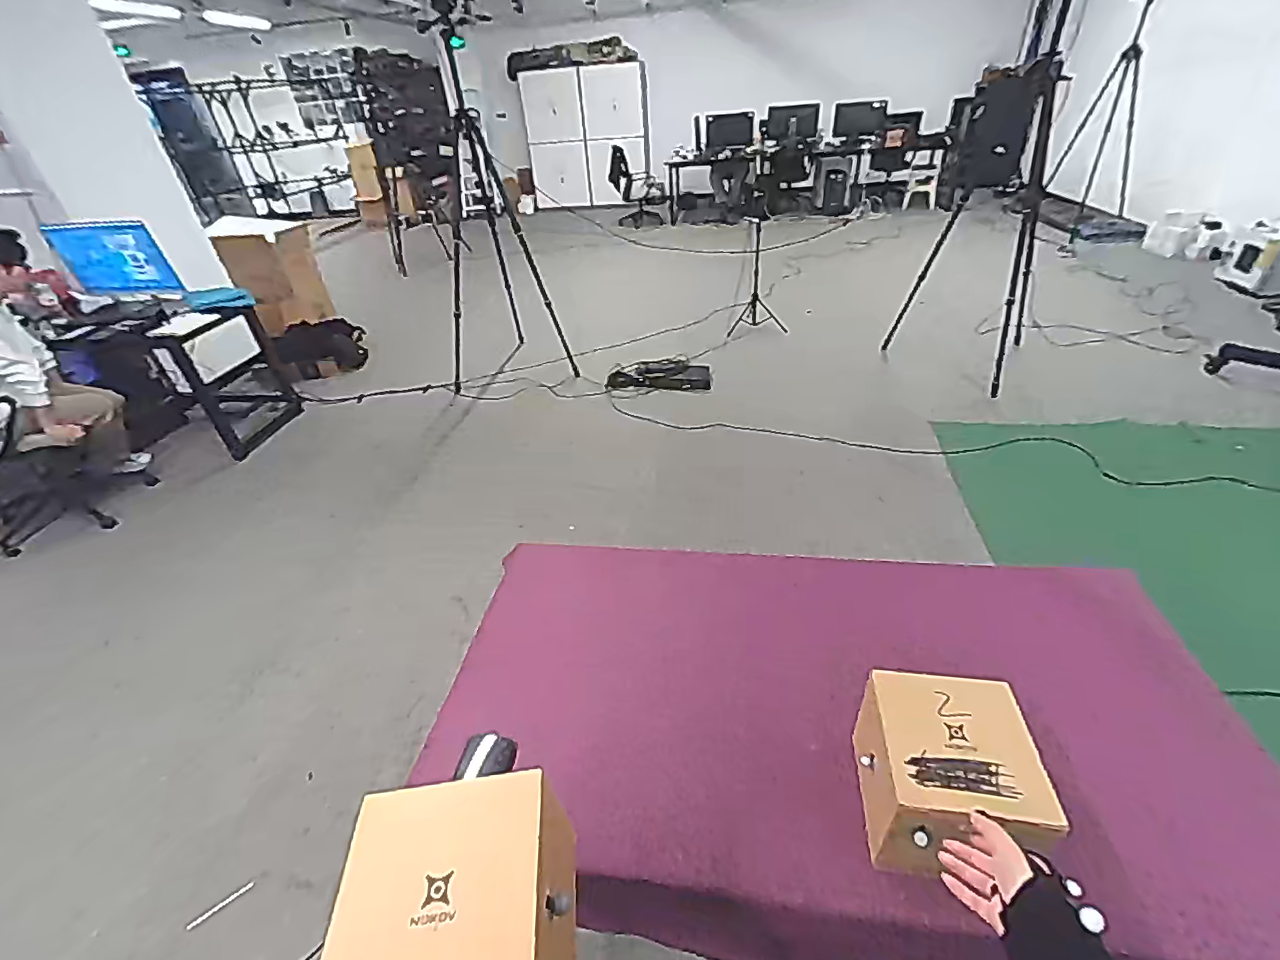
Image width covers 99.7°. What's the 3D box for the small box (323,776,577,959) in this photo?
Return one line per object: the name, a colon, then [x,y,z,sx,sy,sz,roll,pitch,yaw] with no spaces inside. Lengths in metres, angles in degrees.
small box: [-0.151,0.394,0.474,0.168,0.176,0.179,-8,40,-1]
